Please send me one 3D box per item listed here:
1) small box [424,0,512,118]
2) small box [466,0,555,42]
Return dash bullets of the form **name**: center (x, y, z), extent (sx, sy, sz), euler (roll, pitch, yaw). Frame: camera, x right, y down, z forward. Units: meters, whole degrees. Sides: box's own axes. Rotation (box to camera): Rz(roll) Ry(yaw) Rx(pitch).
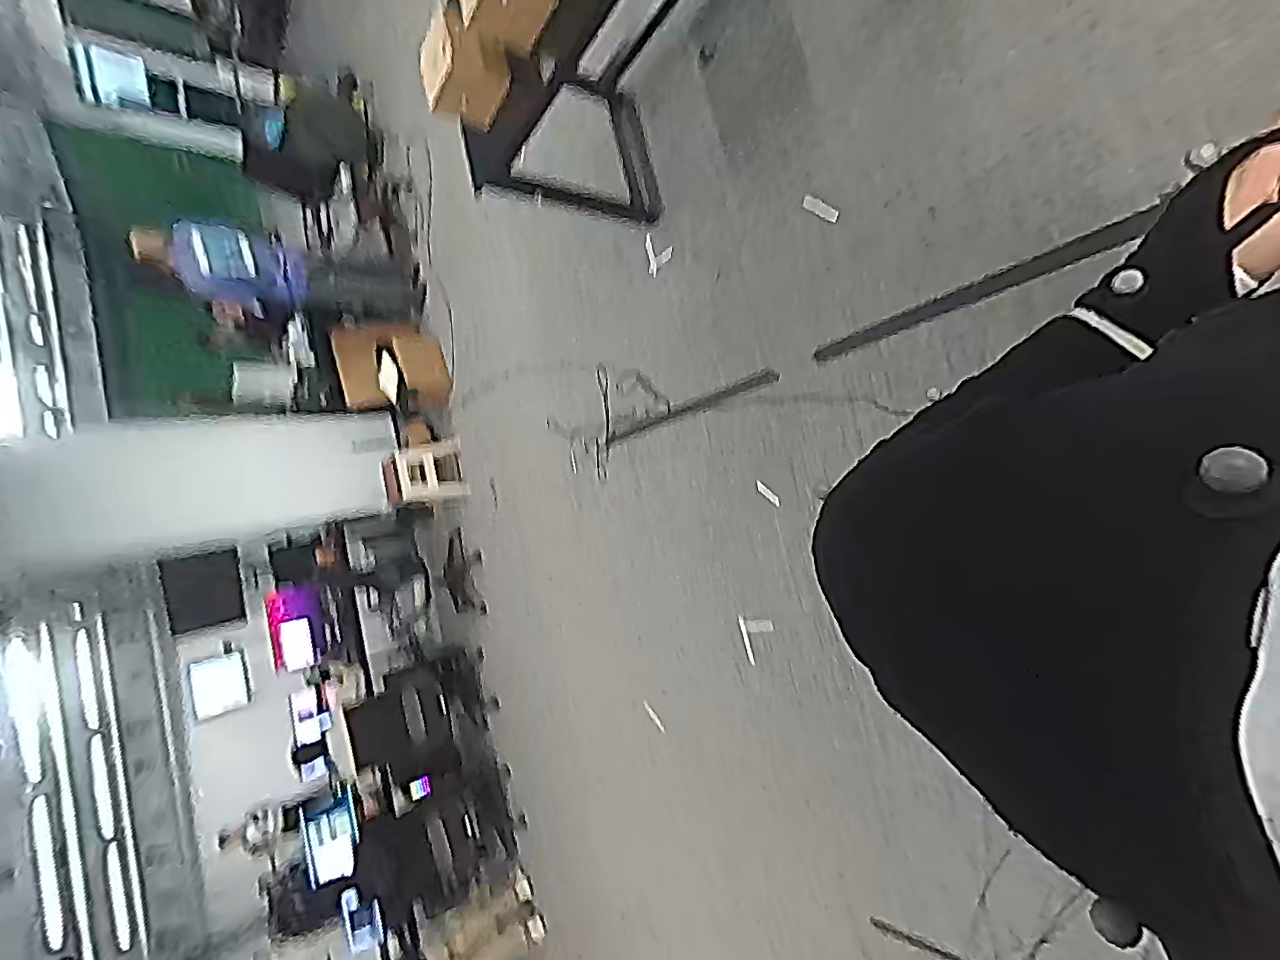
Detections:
- **small box**: center (-0.470, -1.140, 1.477), extent (0.179, 0.176, 0.168), euler (-21, 81, 50)
- **small box**: center (-0.304, -1.194, 1.266), extent (0.179, 0.176, 0.168), euler (-16, 84, 51)
